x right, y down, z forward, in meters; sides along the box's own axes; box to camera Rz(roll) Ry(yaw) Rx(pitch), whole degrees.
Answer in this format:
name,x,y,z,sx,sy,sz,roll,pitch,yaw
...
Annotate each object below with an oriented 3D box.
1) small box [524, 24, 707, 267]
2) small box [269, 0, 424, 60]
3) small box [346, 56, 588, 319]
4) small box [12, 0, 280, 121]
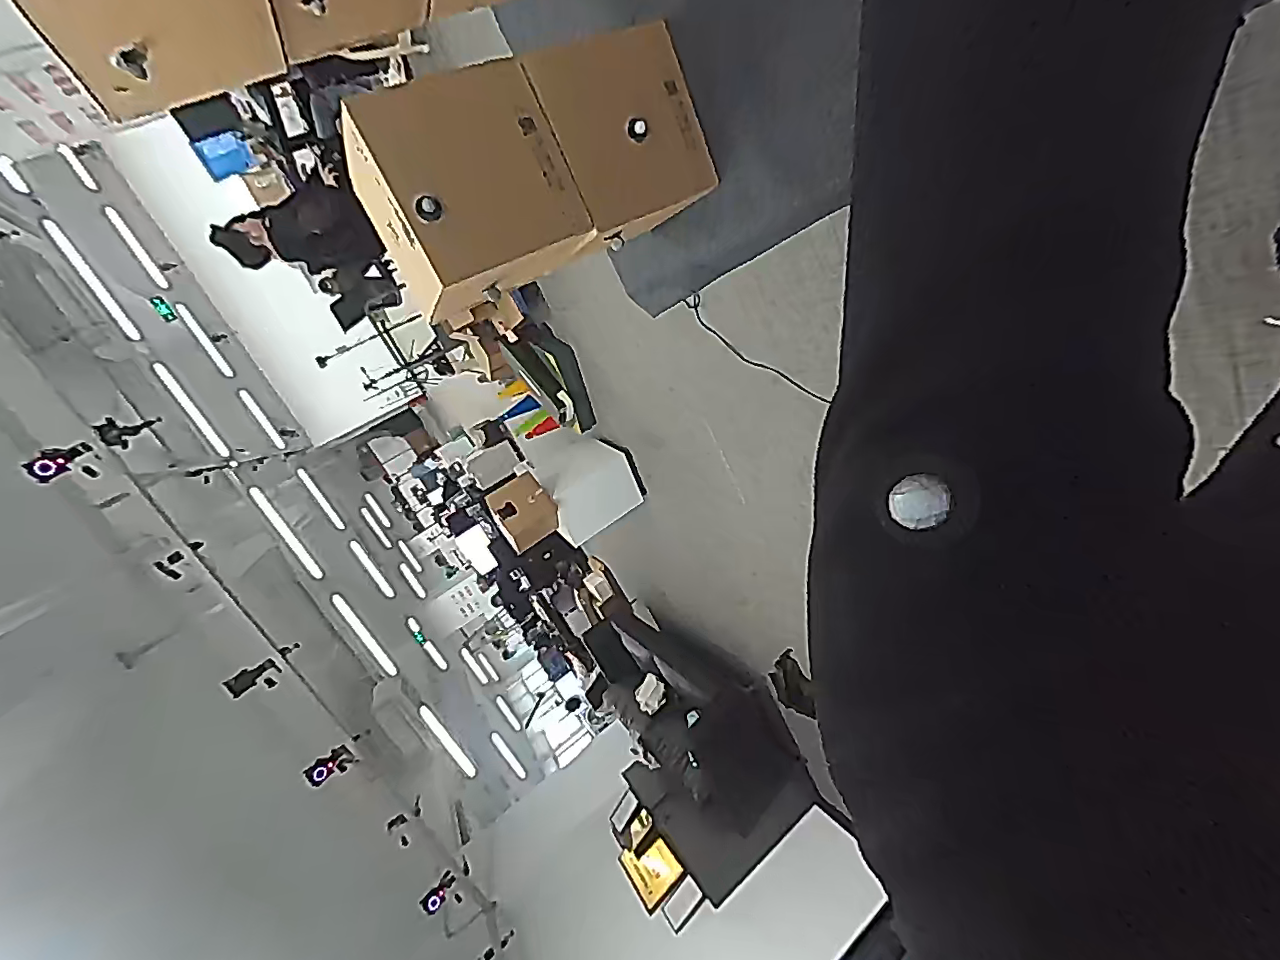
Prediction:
name,x,y,z,sx,sy,sz,roll,pitch,yaw
small box,-0.043,-0.373,0.622,0.179,0.176,0.168,15,133,62
small box,-0.305,-0.538,0.485,0.168,0.176,0.179,58,160,-15
small box,-0.176,-0.293,0.570,0.168,0.176,0.179,63,160,-15
small box,-0.425,-0.439,0.431,0.168,0.176,0.179,59,160,-17
